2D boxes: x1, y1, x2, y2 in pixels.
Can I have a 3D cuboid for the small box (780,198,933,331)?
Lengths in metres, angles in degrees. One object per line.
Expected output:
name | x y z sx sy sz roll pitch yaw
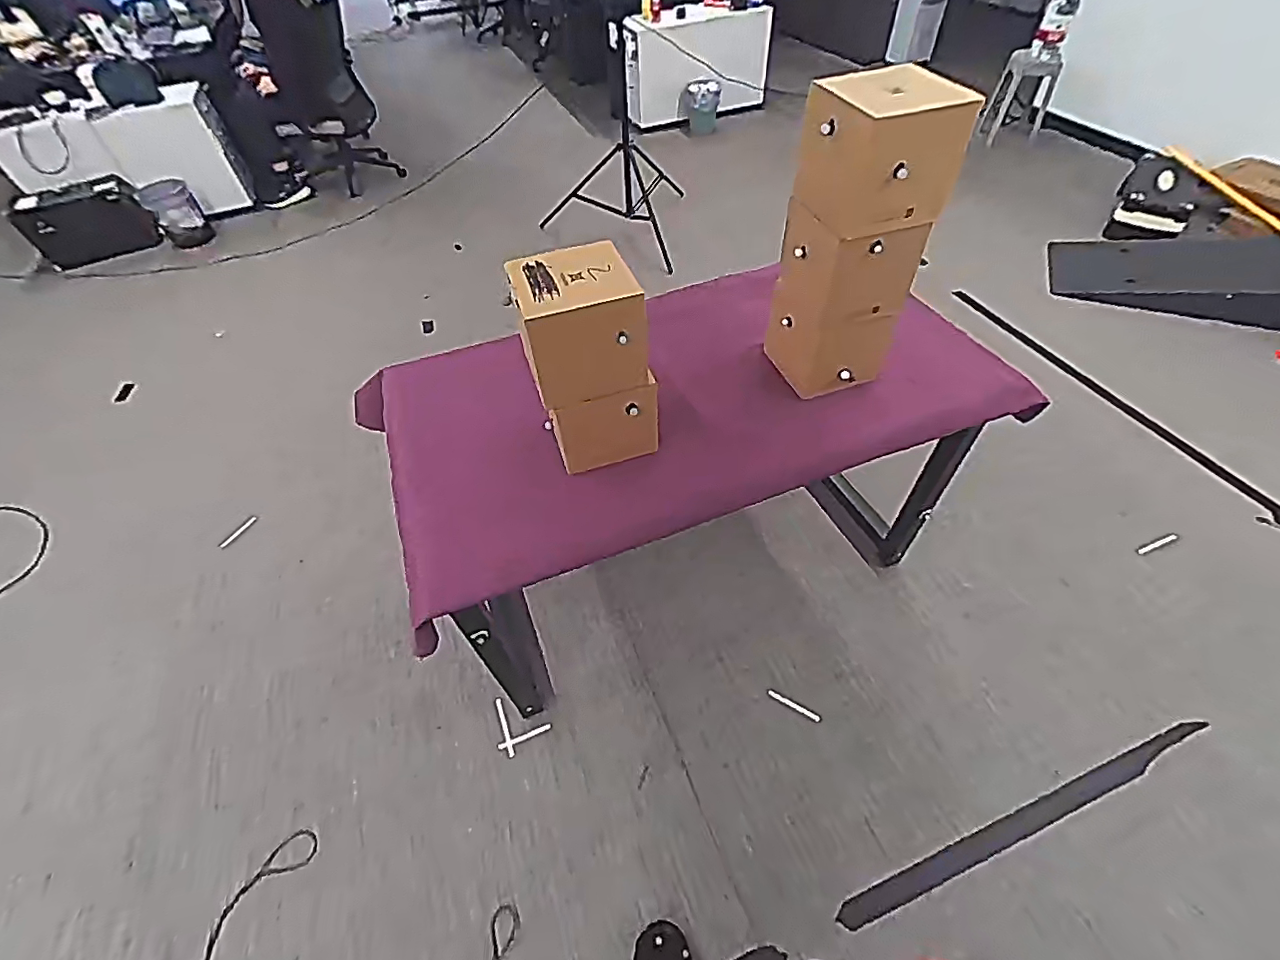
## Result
small box | 0.363 -0.389 0.948 0.168 0.176 0.179 -15 51 -8

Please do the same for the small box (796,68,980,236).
small box | 0.357 -0.487 0.818 0.168 0.176 0.179 -16 51 -8

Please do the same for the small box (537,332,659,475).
small box | -0.073 -0.136 0.981 0.179 0.176 0.168 -16 51 -9

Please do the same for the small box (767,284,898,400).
small box | 0.369 -0.288 1.078 0.168 0.176 0.179 -17 52 -9
